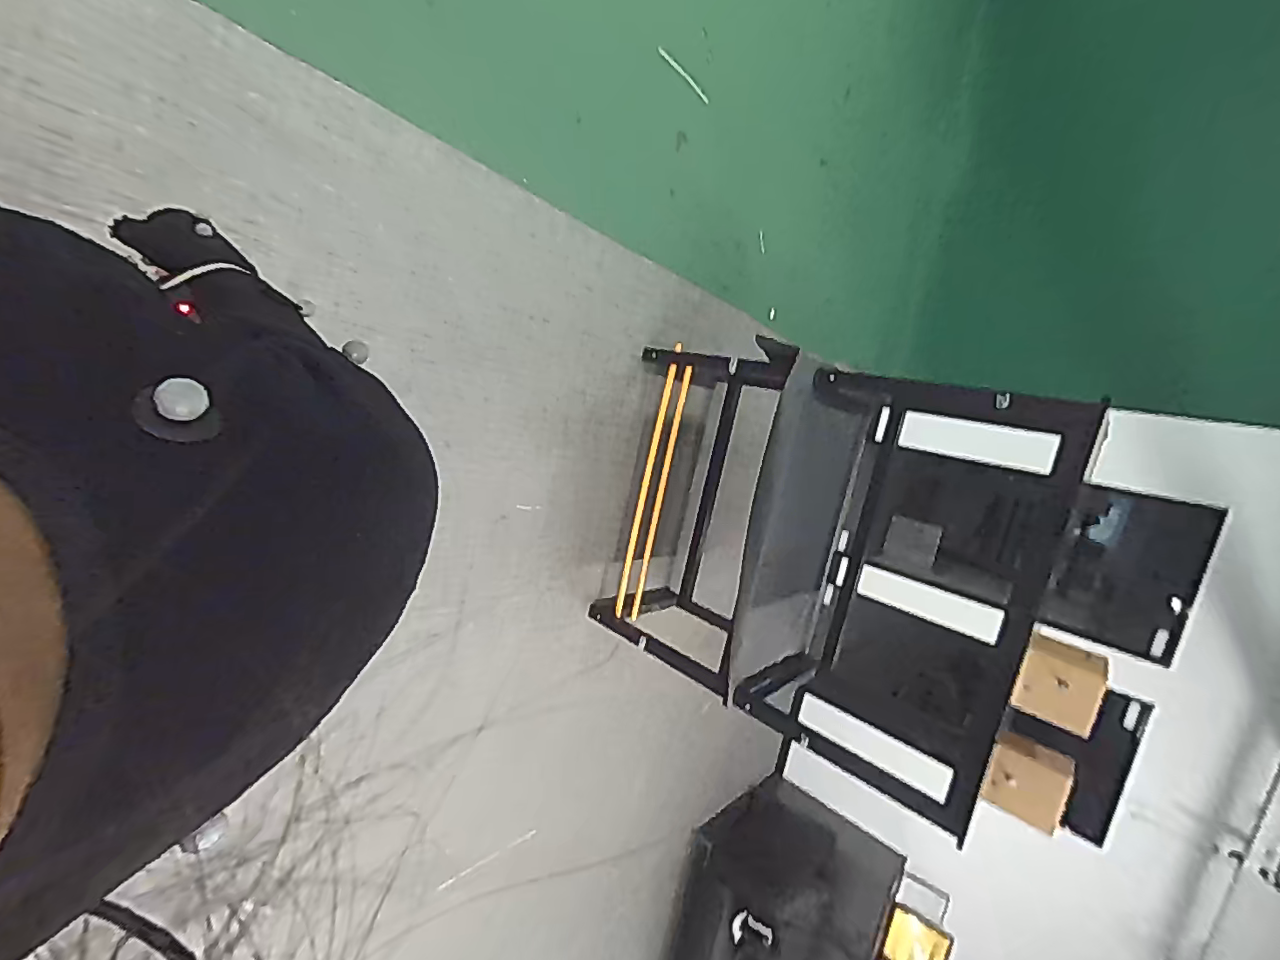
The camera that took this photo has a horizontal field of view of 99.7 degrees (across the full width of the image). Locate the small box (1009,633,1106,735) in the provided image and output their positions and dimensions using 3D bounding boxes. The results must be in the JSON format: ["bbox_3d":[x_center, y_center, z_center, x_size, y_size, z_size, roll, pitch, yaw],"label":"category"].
[{"bbox_3d":[1.102,0.531,1.431,0.179,0.176,0.168,-5,108,-49],"label":"small box"}]

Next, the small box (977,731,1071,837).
[{"bbox_3d":[1.046,0.816,1.475,0.179,0.176,0.168,11,95,-50],"label":"small box"}]
